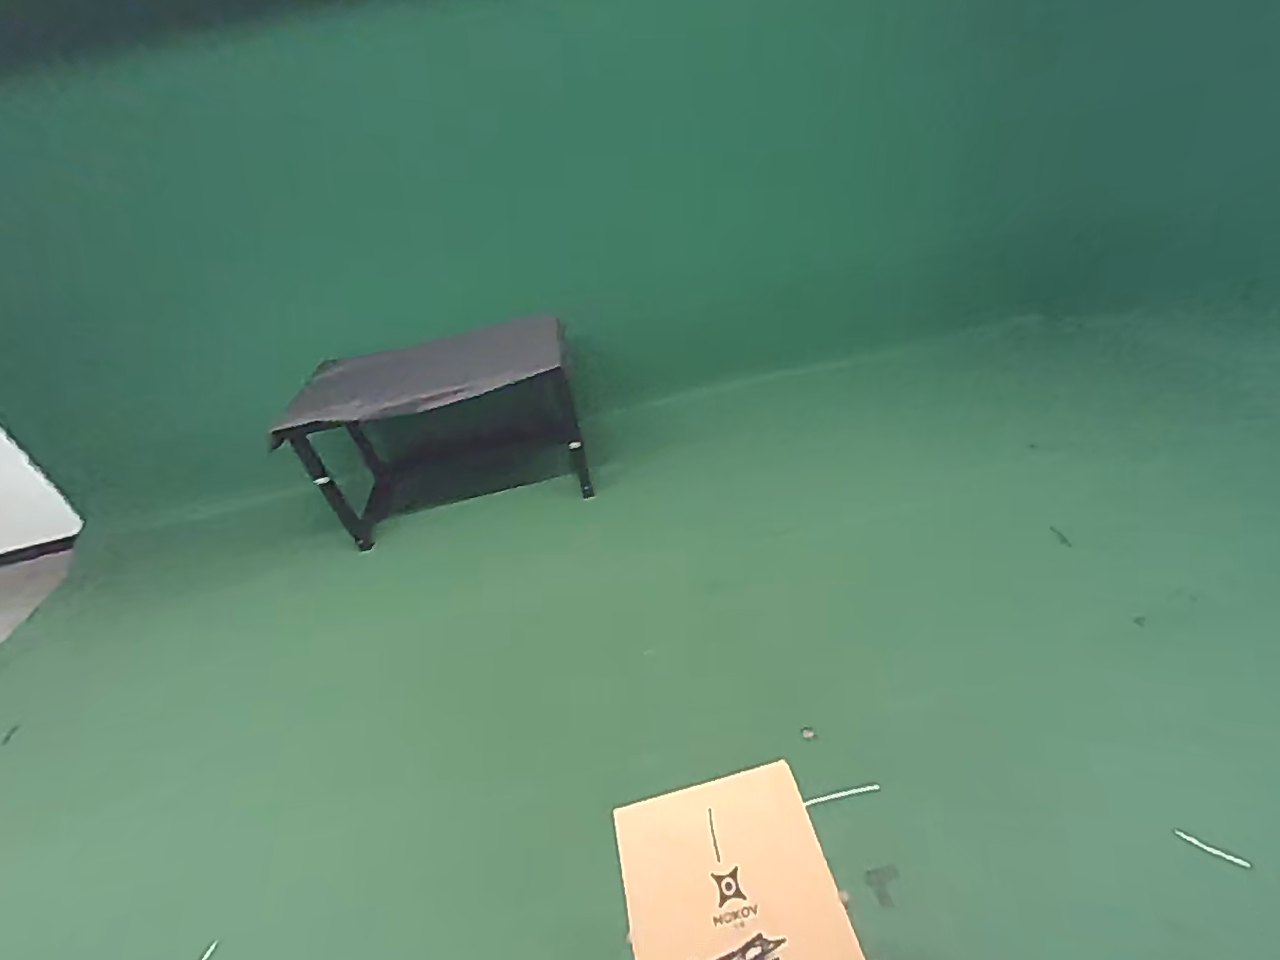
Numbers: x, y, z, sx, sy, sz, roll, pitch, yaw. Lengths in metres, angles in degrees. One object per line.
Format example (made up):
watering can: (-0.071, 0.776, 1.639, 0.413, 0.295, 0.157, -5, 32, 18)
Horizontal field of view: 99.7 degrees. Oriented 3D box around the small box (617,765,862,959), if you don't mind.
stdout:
small box: (0.087, 0.388, 0.472, 0.168, 0.176, 0.179, -15, 41, -1)
